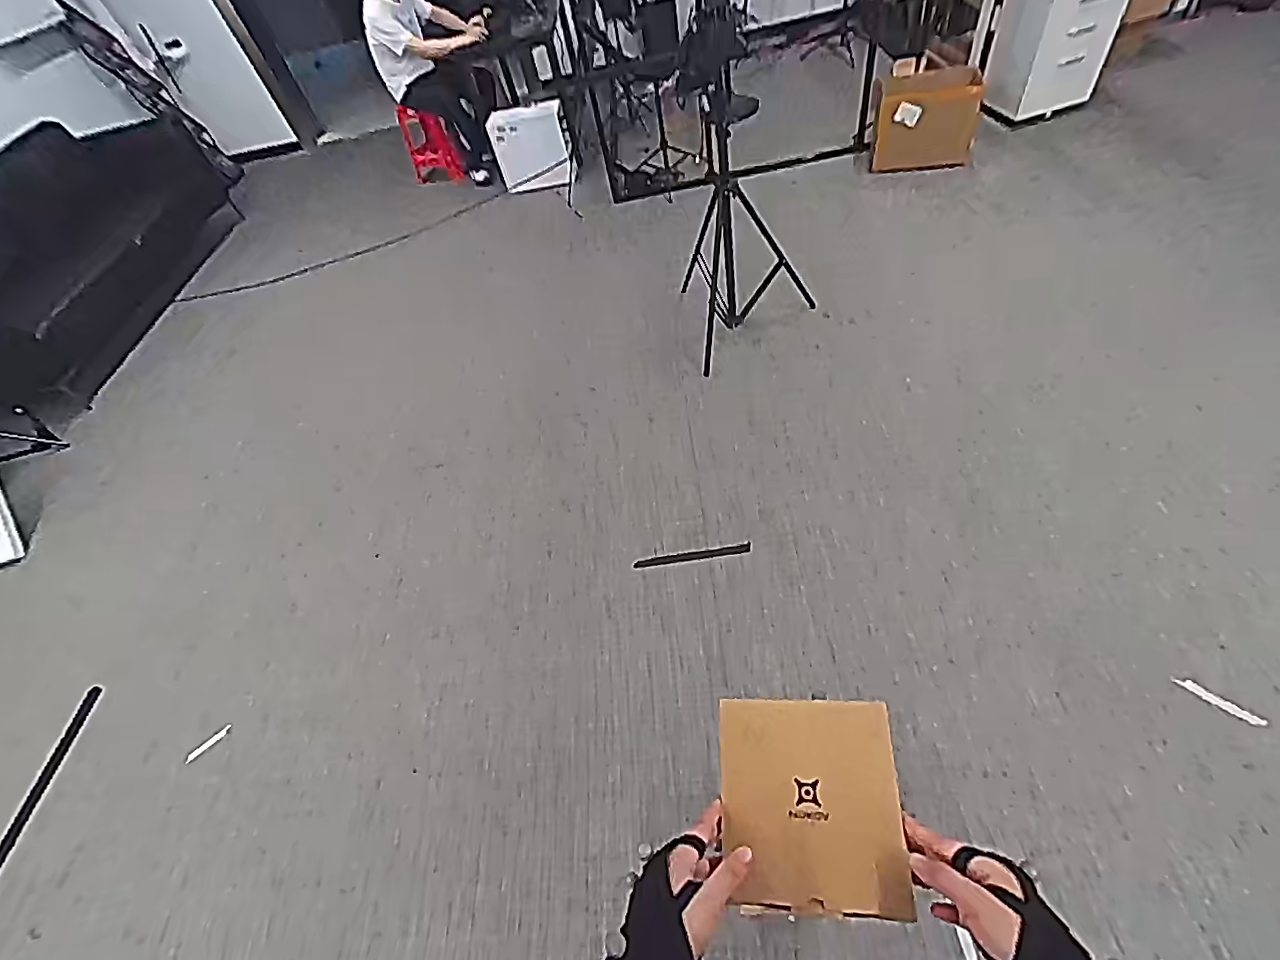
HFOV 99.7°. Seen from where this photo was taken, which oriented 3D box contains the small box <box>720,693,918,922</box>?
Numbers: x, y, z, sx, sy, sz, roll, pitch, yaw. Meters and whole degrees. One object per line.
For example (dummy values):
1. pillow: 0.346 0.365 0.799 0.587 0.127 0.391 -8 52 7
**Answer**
1. small box: 0.176 0.327 0.572 0.168 0.176 0.179 -5 65 14
